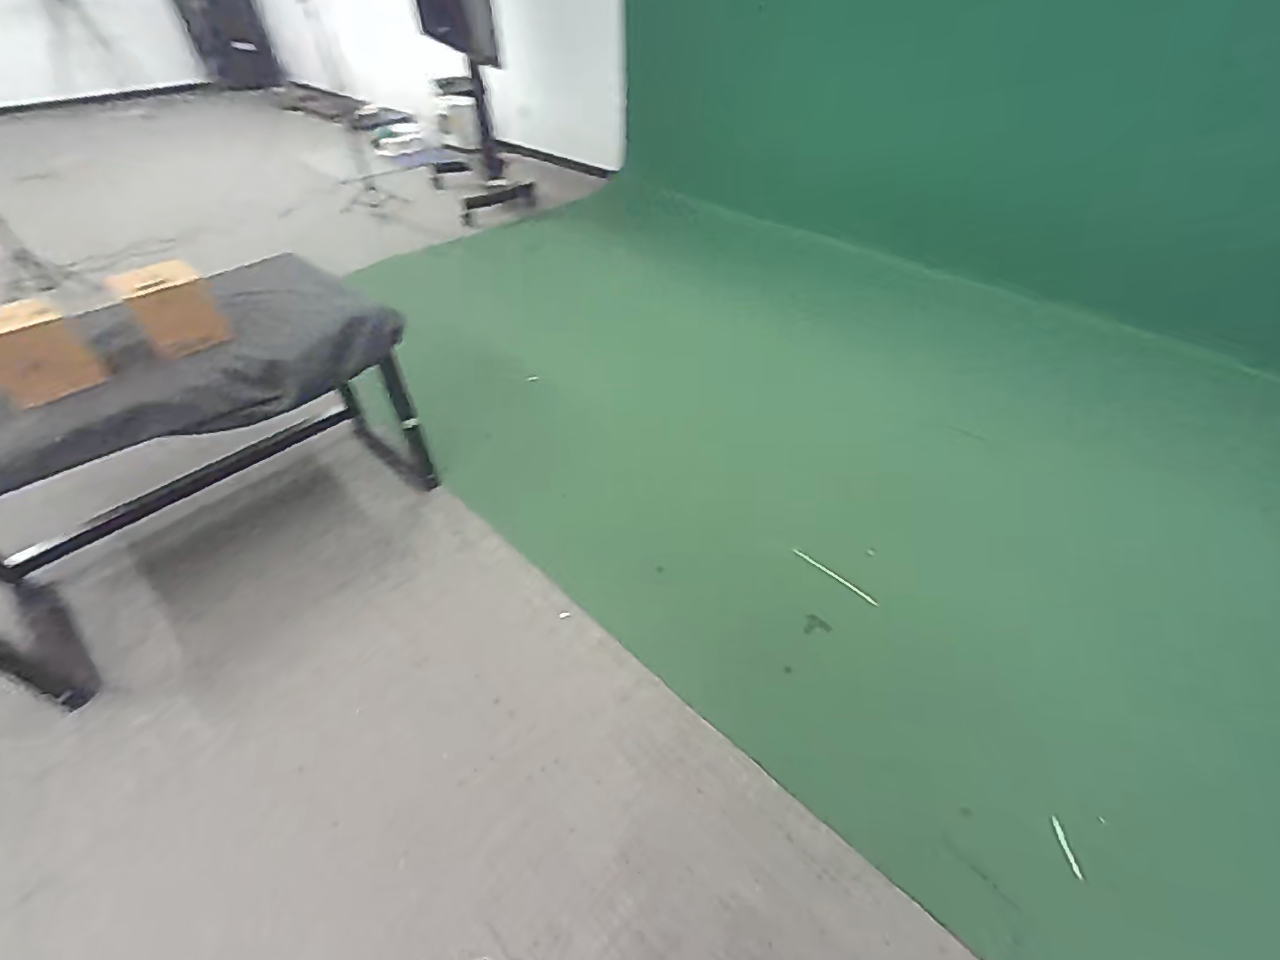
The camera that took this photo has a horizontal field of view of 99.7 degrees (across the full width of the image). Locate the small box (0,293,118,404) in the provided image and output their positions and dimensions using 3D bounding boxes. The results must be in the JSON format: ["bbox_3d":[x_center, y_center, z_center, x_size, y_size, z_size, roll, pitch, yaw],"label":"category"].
[{"bbox_3d":[-1.381,-0.302,1.249,0.168,0.176,0.179,32,53,28],"label":"small box"}]

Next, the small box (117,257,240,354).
[{"bbox_3d":[-1.185,-0.447,1.398,0.179,0.176,0.168,34,53,30],"label":"small box"}]
